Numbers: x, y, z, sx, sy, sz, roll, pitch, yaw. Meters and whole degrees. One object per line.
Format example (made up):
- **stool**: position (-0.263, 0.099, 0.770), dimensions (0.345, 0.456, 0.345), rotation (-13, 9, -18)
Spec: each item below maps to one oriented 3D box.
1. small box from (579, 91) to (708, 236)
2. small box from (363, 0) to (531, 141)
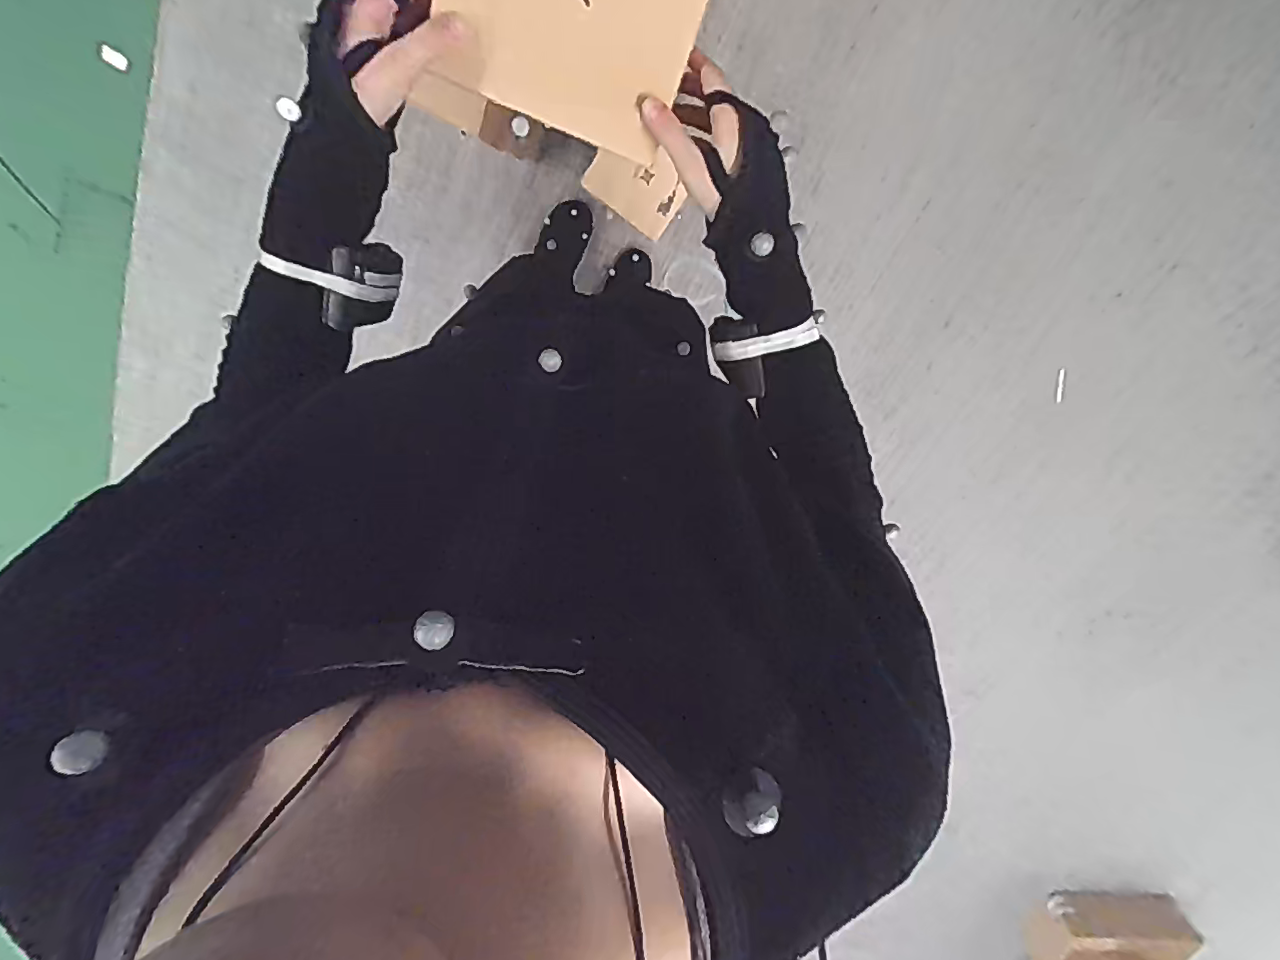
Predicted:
- **small box**: position (0.005, -0.591, 1.041), dimensions (0.179, 0.176, 0.168), rotation (34, 110, -14)
- **small box**: position (-0.282, -0.649, 0.826), dimensions (0.179, 0.176, 0.168), rotation (24, 112, -11)
